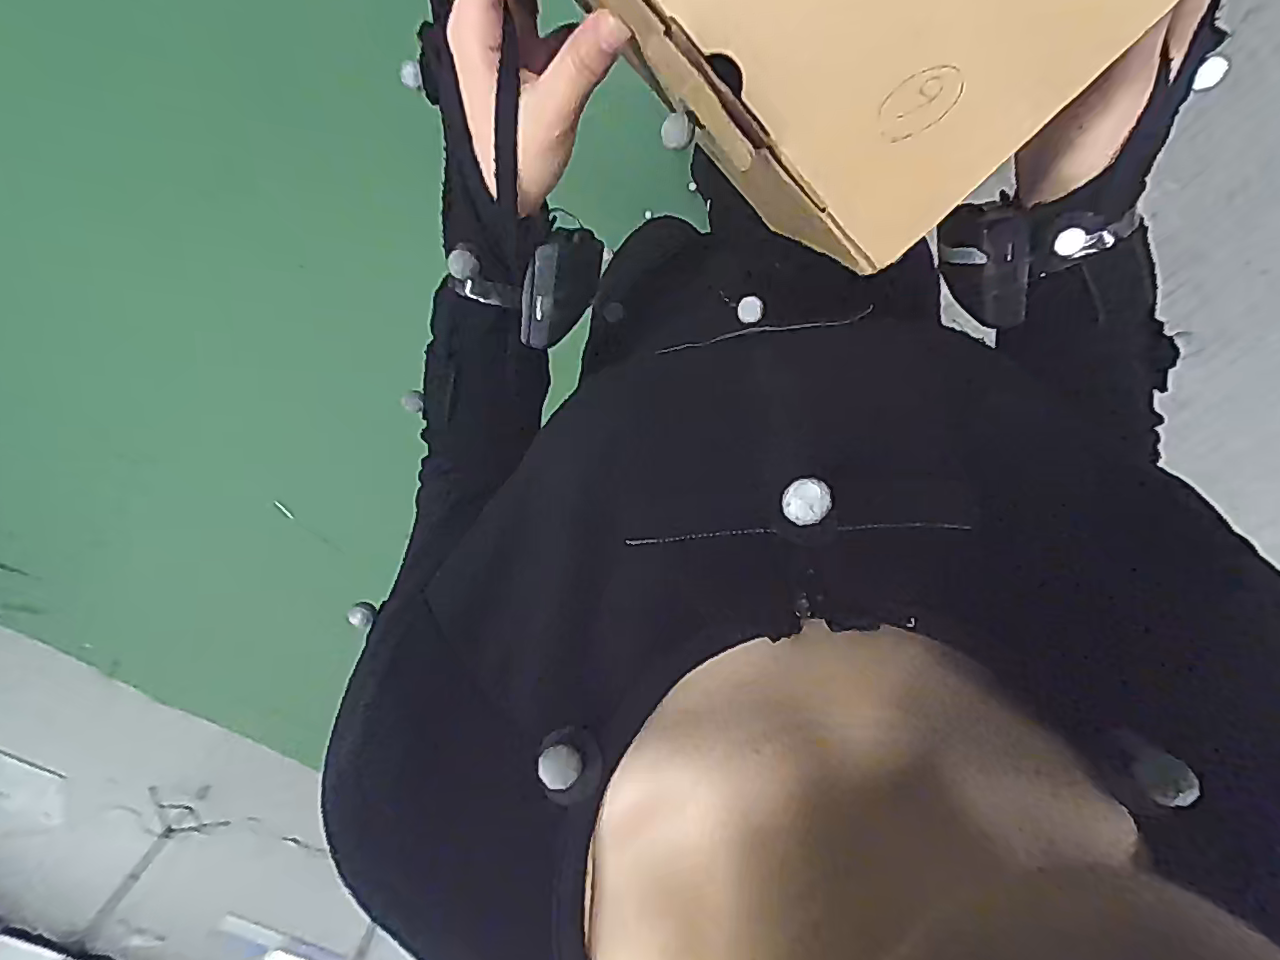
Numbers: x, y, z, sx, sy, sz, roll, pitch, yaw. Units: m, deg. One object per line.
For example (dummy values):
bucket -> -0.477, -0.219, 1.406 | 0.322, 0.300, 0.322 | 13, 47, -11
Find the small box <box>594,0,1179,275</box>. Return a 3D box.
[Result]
small box -> 0.084, -0.216, 0.213 | 0.168, 0.176, 0.179 | 40, 114, -20
